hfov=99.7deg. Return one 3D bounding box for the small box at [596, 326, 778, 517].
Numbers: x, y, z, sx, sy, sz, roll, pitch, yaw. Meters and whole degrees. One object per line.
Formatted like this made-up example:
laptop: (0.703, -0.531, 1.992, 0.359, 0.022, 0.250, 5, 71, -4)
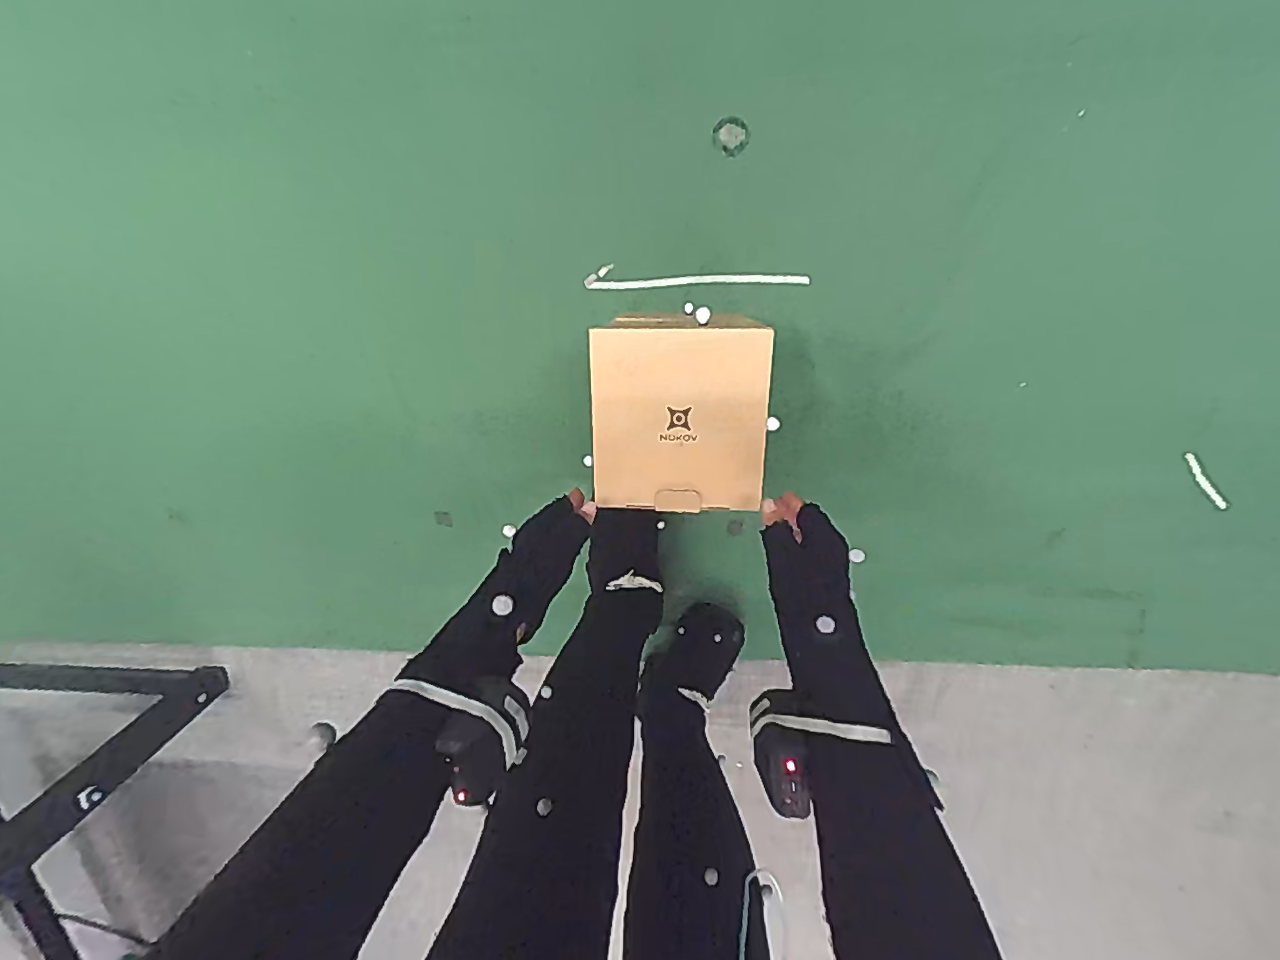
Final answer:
small box: (0.046, -0.073, 0.583, 0.168, 0.176, 0.179, 1, 110, 4)
